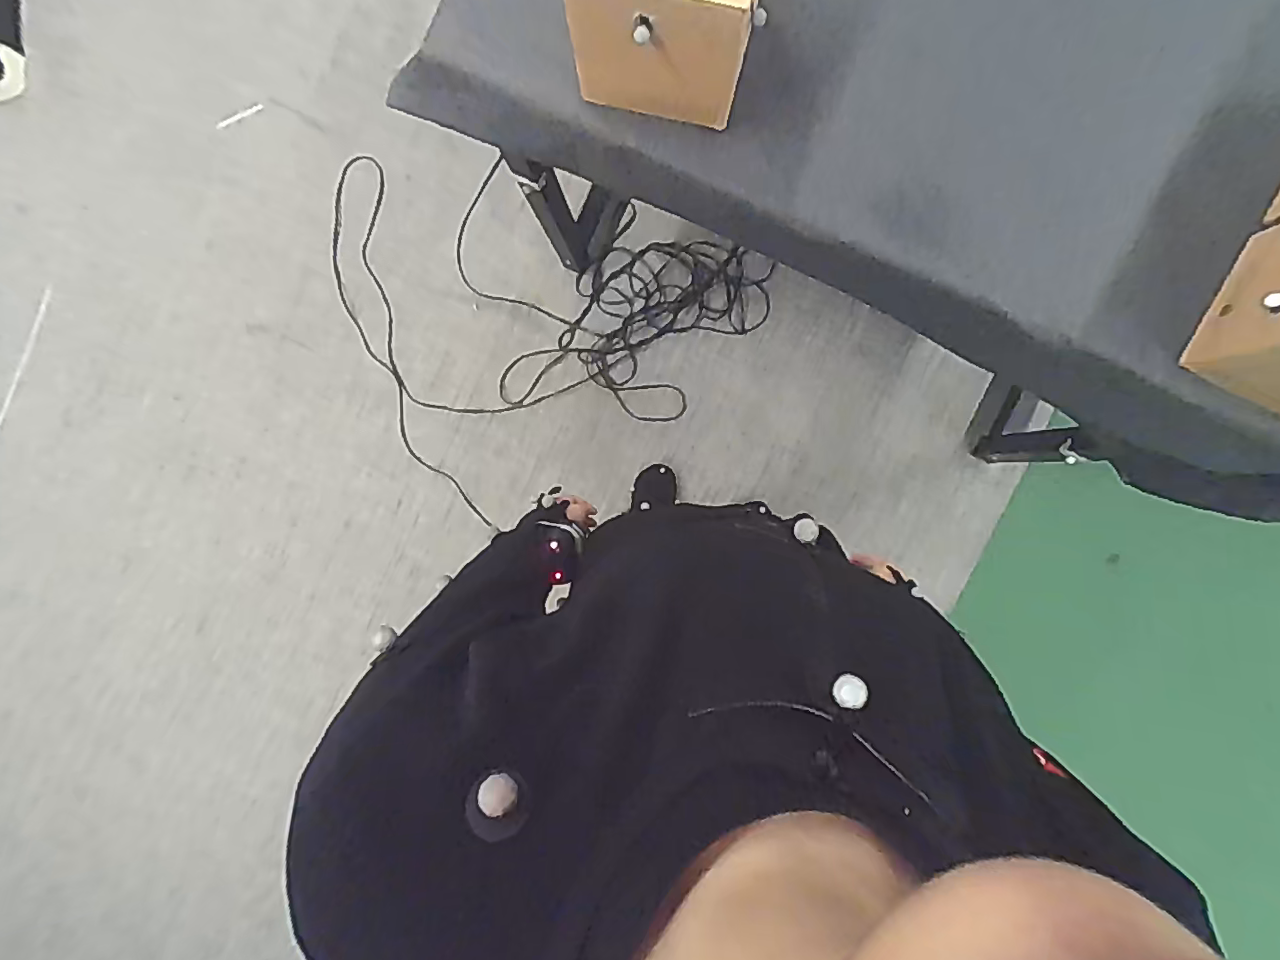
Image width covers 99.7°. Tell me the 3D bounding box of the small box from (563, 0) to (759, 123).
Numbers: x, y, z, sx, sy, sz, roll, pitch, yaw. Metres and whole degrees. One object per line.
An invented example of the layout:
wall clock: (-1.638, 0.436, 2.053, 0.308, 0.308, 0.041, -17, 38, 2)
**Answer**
small box: (0.033, -0.507, 0.552, 0.179, 0.176, 0.168, 15, 91, 3)
